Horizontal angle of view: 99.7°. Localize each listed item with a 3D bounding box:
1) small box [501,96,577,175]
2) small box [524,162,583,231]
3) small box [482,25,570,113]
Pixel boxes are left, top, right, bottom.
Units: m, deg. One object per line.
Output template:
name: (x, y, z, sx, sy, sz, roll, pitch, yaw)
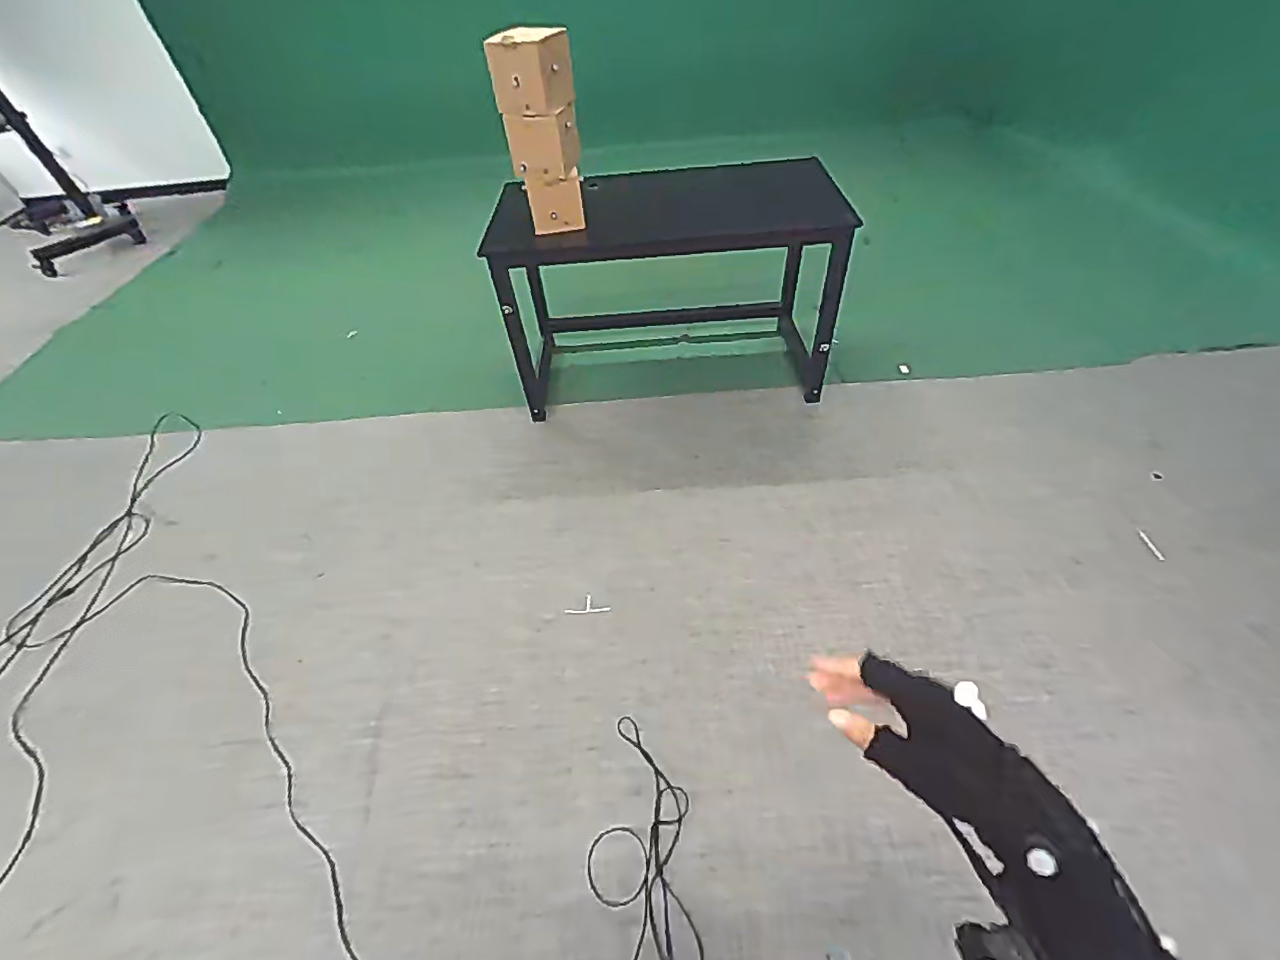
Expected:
small box: (-0.298, -1.046, 1.646, 0.168, 0.176, 0.179, 7, 49, 10)
small box: (-0.283, -0.937, 1.767, 0.168, 0.176, 0.179, -10, 49, -4)
small box: (-0.311, -1.161, 1.528, 0.168, 0.176, 0.179, 15, 53, 17)
